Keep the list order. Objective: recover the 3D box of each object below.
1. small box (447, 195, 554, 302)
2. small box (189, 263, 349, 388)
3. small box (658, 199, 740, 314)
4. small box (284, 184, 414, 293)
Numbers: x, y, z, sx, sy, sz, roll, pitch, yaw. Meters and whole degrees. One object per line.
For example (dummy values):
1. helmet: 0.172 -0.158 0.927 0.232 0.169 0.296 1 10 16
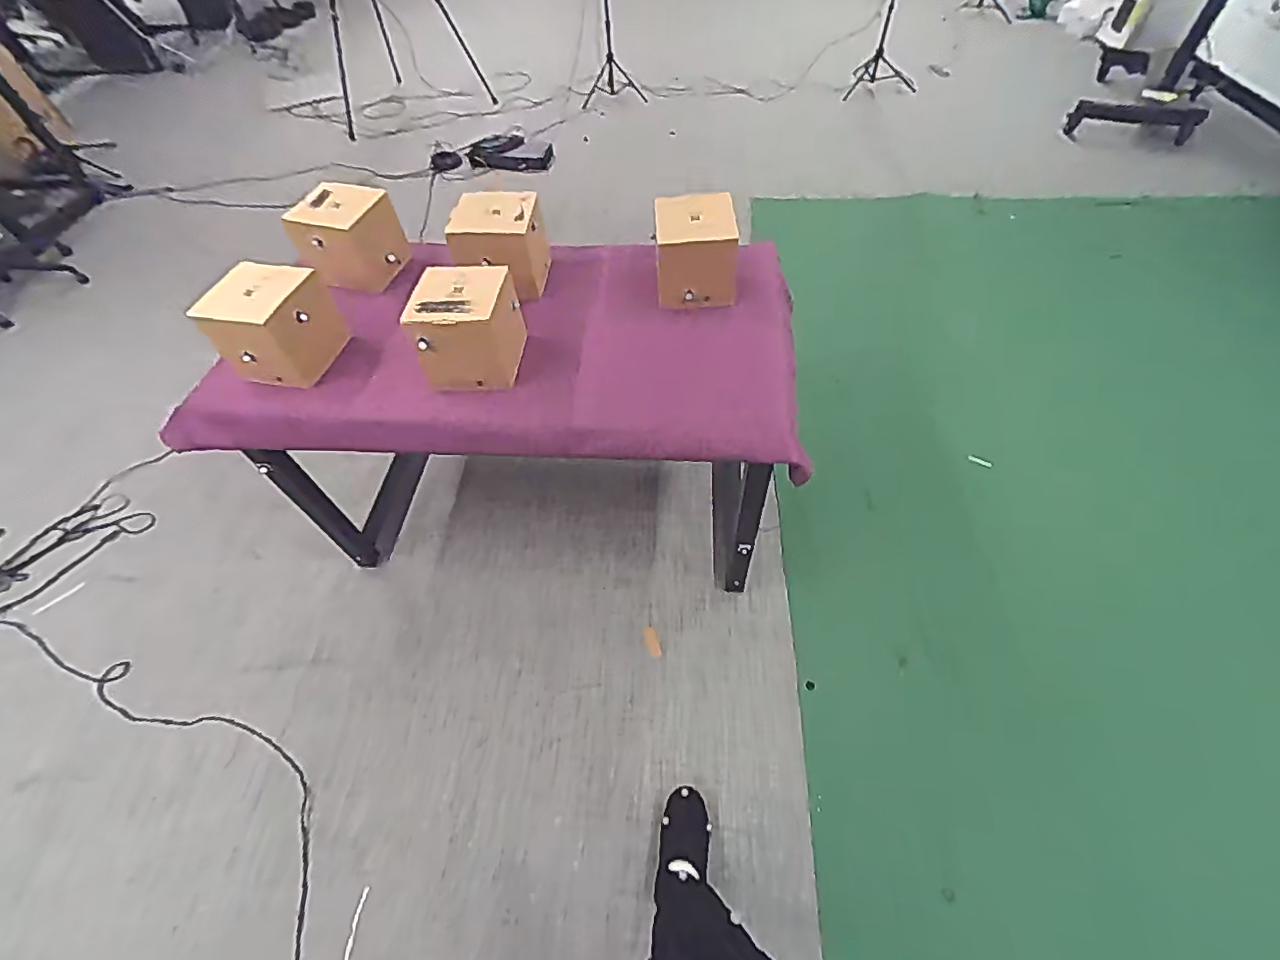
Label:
1. small box: -0.307 -0.521 1.227 0.179 0.176 0.168 2 56 5
2. small box: -0.728 -0.308 1.089 0.168 0.176 0.179 9 55 8
3. small box: 0.122 -0.487 1.183 0.168 0.176 0.179 -2 55 3
4. small box: -0.672 -0.564 1.273 0.179 0.176 0.168 13 57 10
